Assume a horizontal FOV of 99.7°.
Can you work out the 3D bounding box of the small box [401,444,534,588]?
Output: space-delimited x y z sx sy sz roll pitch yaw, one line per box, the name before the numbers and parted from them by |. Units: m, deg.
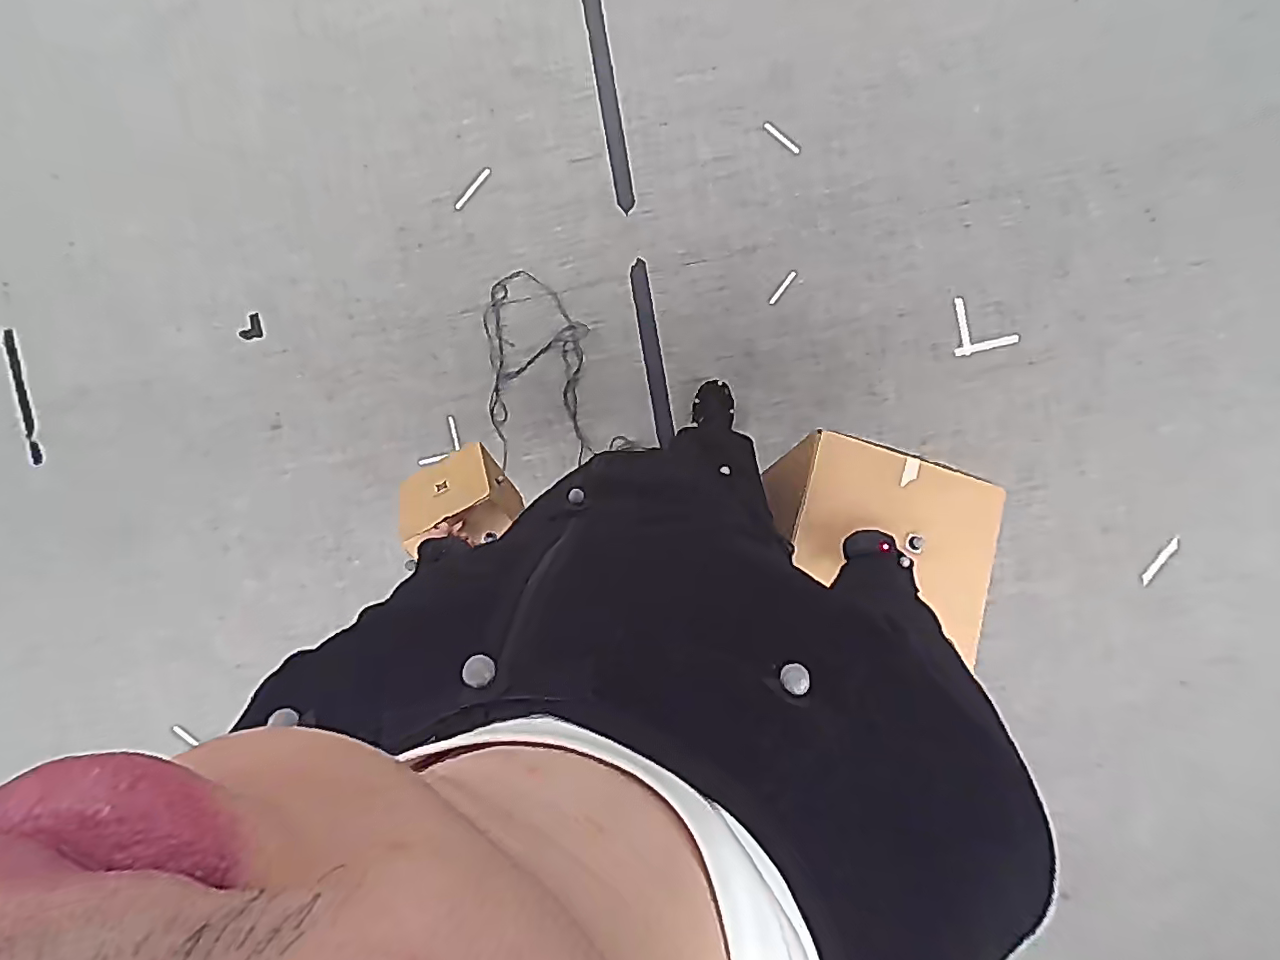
small box | -0.311 0.073 0.984 0.168 0.179 0.176 -28 132 -2
